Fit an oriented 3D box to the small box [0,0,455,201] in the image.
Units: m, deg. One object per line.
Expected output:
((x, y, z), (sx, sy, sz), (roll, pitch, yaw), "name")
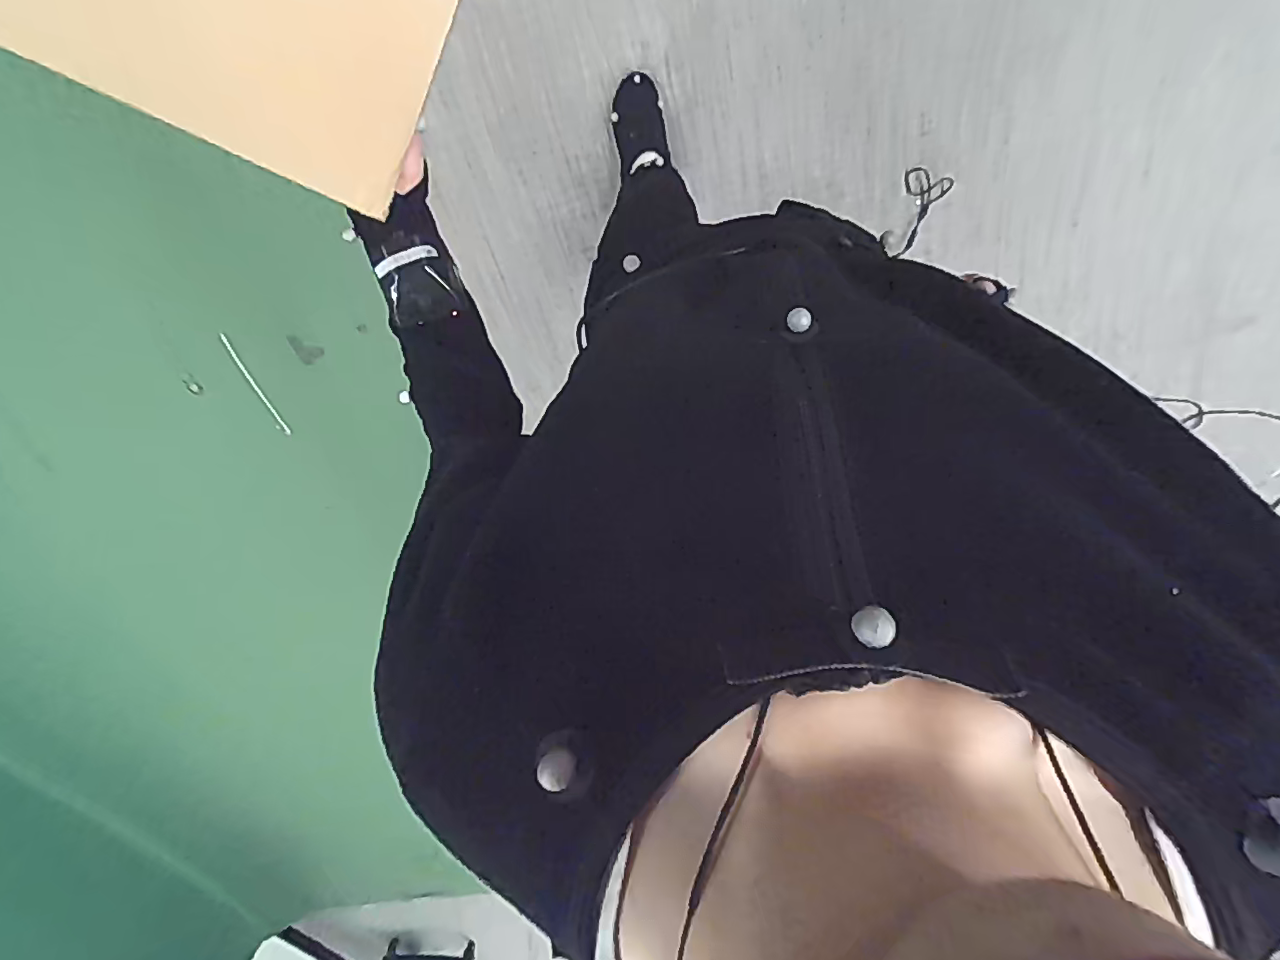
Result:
((-0.185, -0.281, 0.266), (0.168, 0.179, 0.176), (15, 121, -36), "small box")
